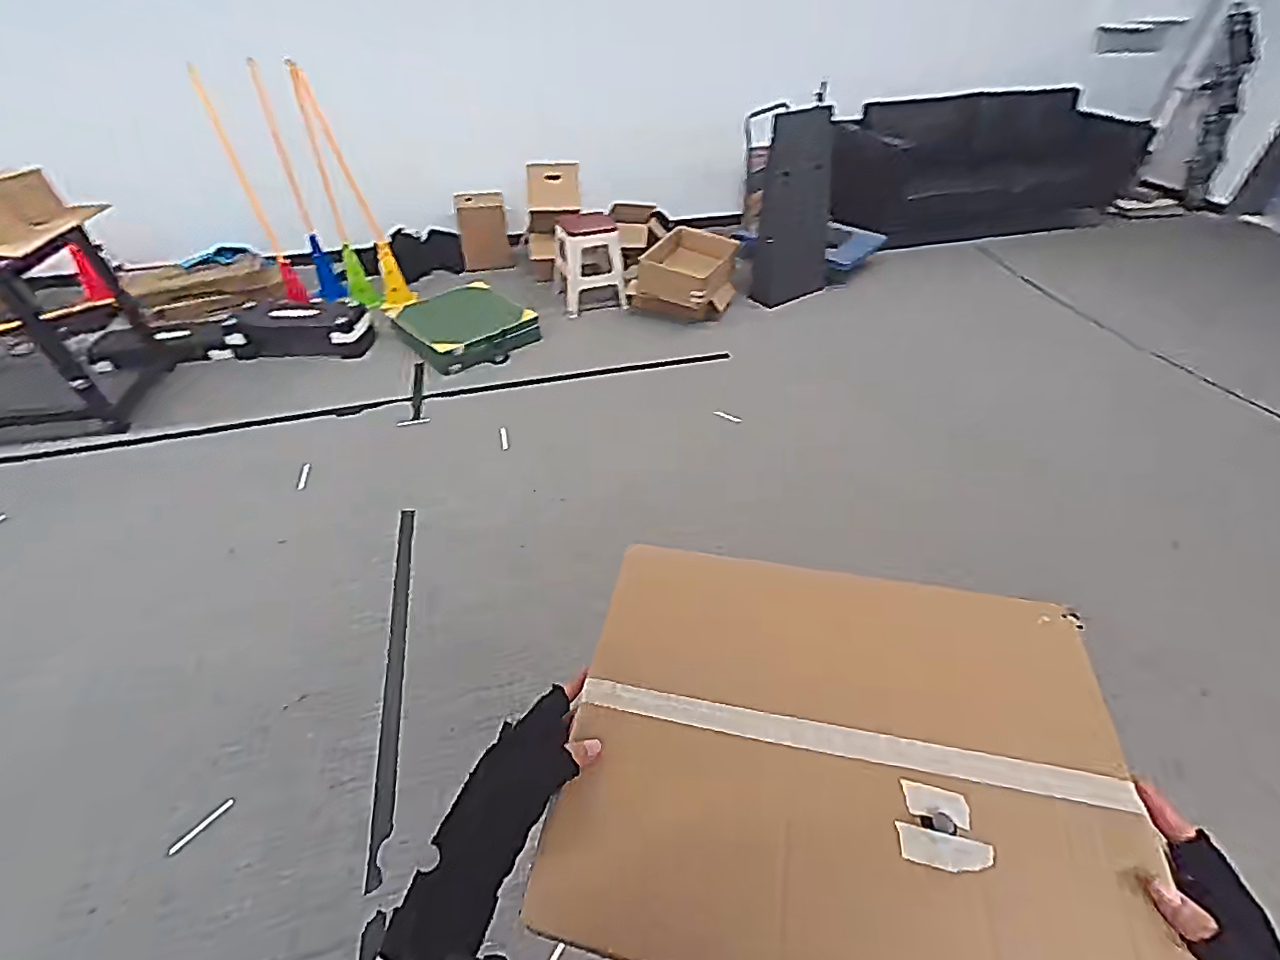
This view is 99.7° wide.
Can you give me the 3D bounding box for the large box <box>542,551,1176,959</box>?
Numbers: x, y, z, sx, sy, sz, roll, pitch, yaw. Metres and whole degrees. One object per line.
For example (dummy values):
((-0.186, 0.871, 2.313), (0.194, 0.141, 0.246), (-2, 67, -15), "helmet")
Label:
((0.161, 0.305, 0.538), (0.408, 0.320, 0.320), (7, 48, 11), "large box")
